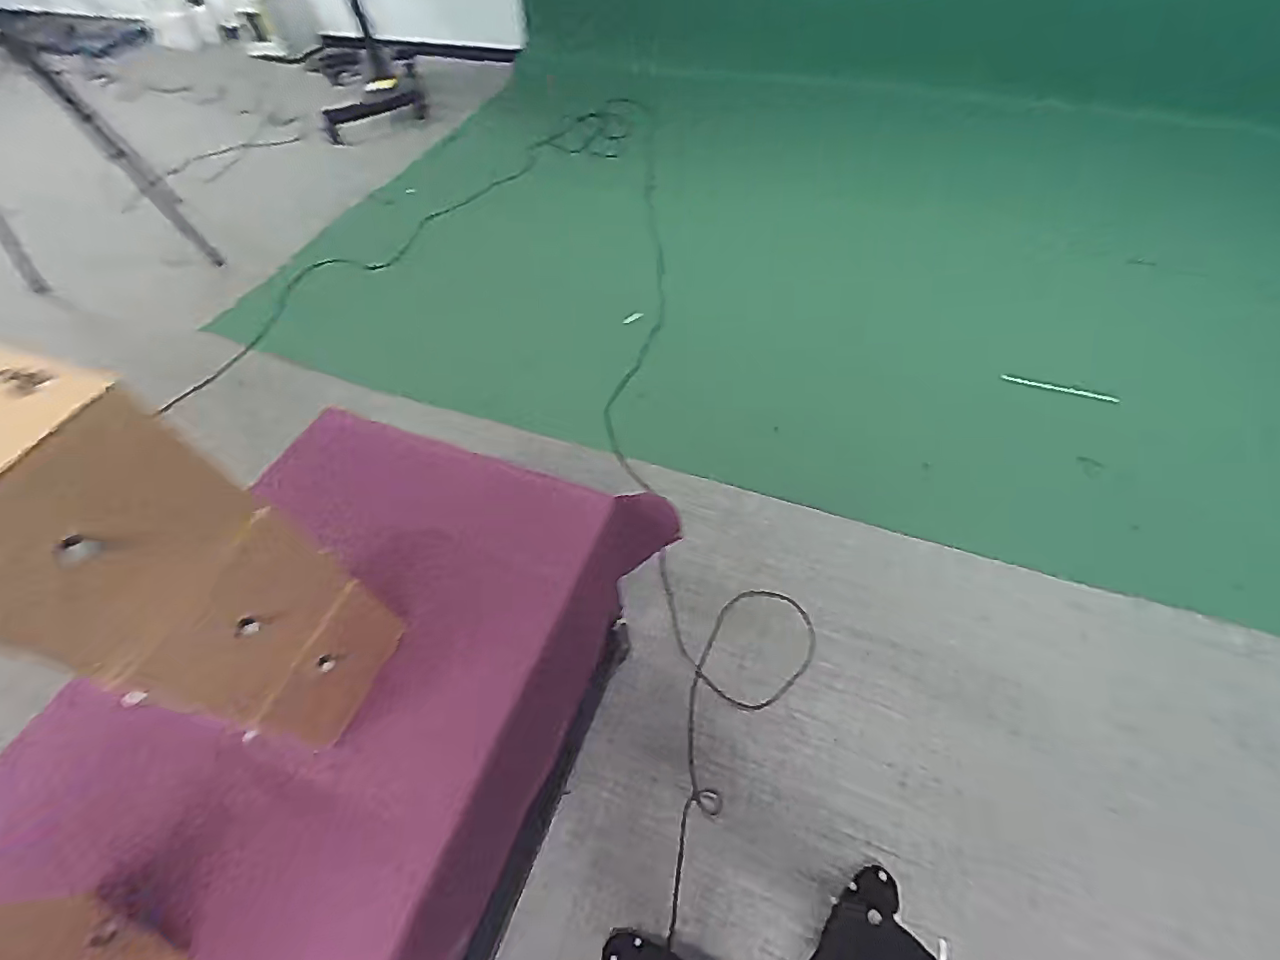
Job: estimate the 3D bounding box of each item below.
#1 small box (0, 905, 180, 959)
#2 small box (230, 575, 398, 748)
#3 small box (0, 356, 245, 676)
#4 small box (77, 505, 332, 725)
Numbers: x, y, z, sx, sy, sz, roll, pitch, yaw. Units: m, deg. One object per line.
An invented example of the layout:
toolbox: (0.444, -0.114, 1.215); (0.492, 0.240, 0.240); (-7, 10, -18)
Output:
small box: (-0.588, 0.519, 0.485); (0.168, 0.176, 0.179); (14, 56, 13)
small box: (-0.444, 0.215, 0.685); (0.168, 0.176, 0.179); (16, 57, 14)
small box: (-0.466, 0.029, 0.415); (0.168, 0.176, 0.179); (15, 59, 12)
small box: (-0.455, 0.122, 0.550); (0.168, 0.176, 0.179); (16, 58, 13)
